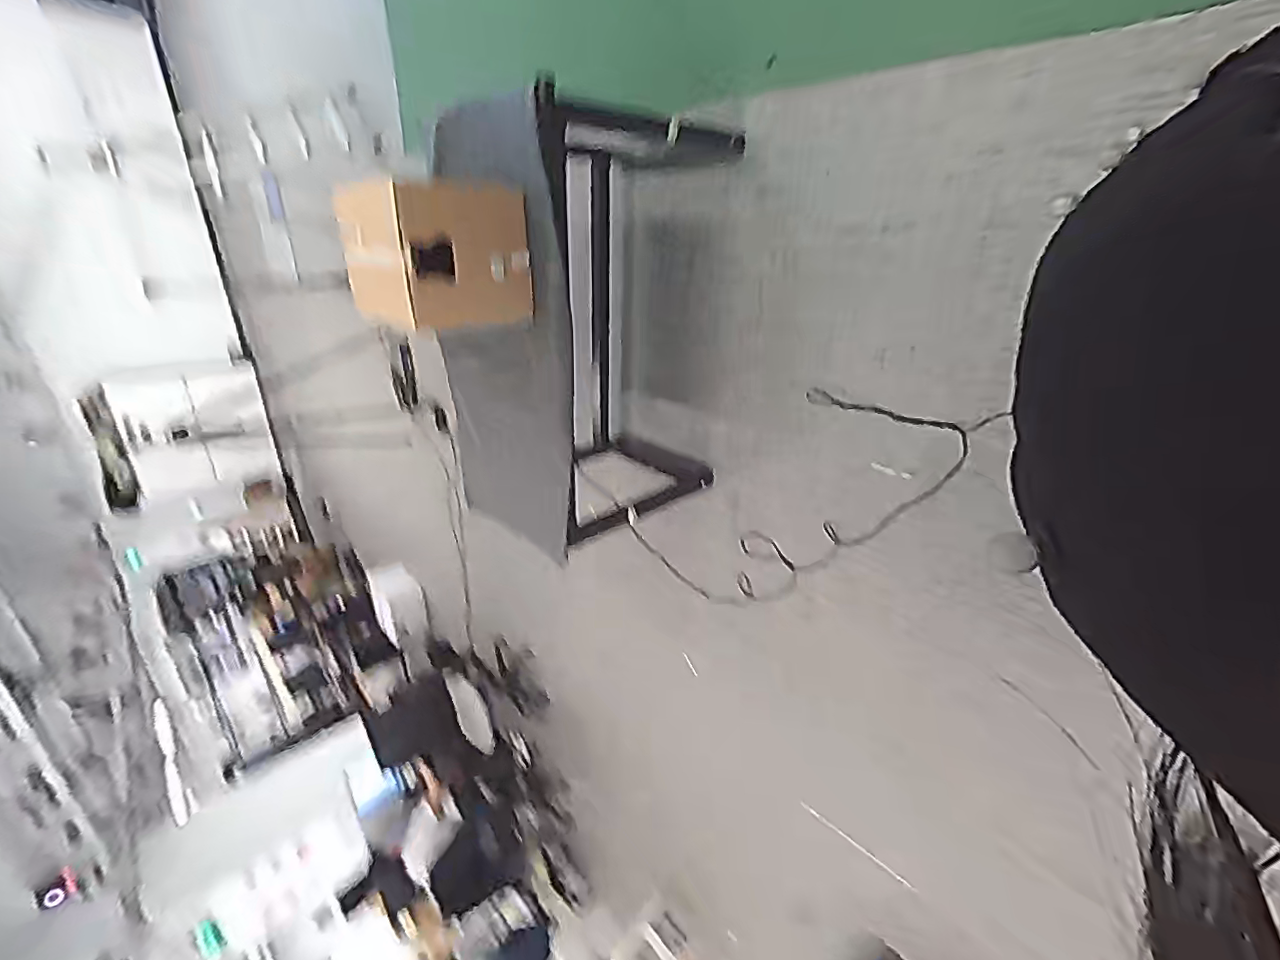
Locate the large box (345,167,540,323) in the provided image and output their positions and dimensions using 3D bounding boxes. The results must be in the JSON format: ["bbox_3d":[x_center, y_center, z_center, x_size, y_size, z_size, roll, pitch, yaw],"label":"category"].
[{"bbox_3d":[-0.499,-0.591,1.376,0.408,0.320,0.320,25,124,43],"label":"large box"}]
